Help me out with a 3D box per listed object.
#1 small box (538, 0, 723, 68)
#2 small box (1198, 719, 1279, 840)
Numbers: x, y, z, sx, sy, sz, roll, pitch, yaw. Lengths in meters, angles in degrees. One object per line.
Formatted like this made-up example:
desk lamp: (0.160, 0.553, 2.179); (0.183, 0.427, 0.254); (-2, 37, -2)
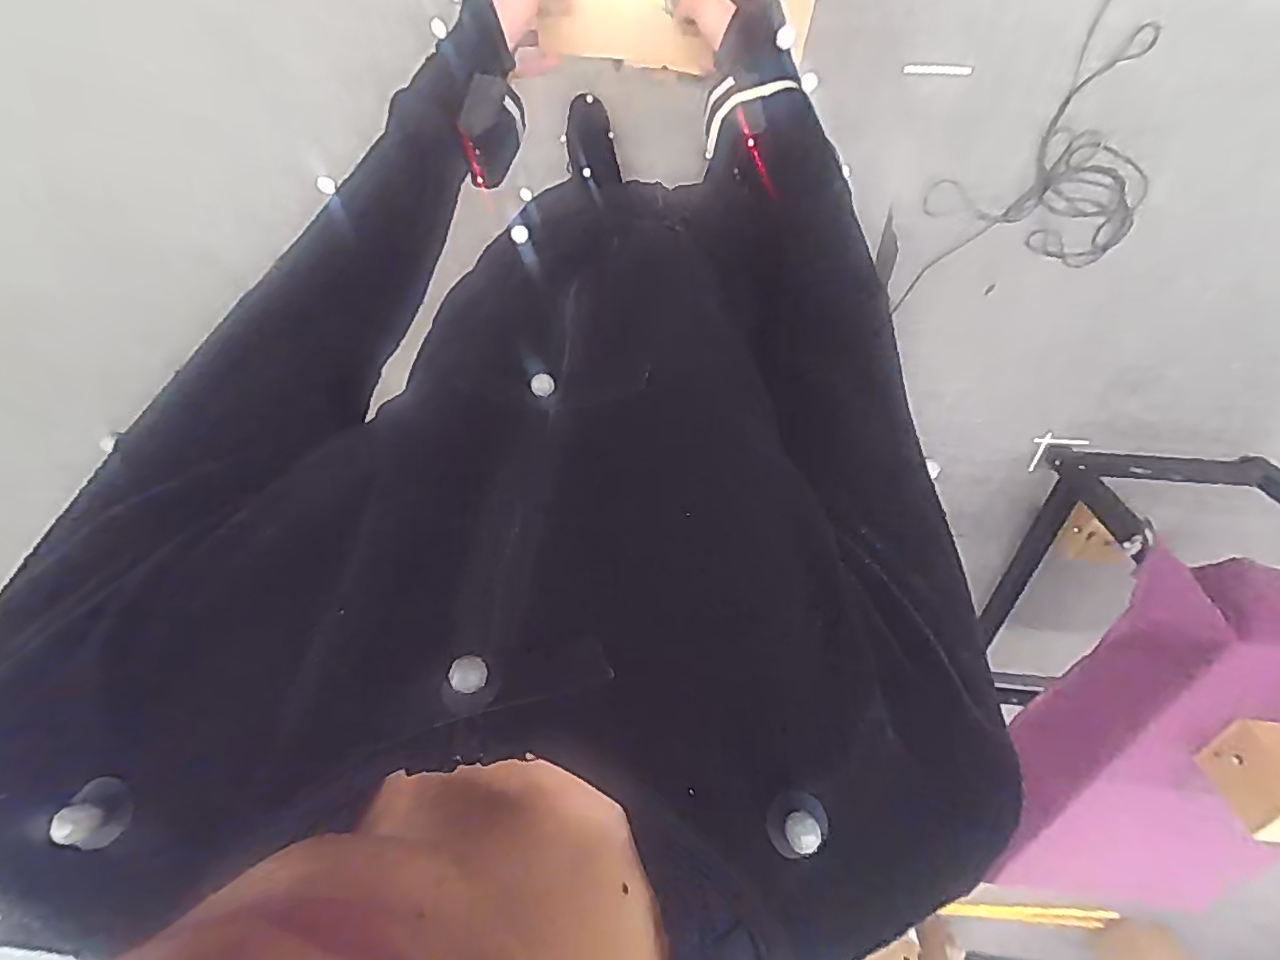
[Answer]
small box: (-0.012, -0.526, 0.540); (0.179, 0.176, 0.168); (0, 132, -3)
small box: (1.336, 0.615, 1.107); (0.179, 0.176, 0.168); (5, 126, 6)
